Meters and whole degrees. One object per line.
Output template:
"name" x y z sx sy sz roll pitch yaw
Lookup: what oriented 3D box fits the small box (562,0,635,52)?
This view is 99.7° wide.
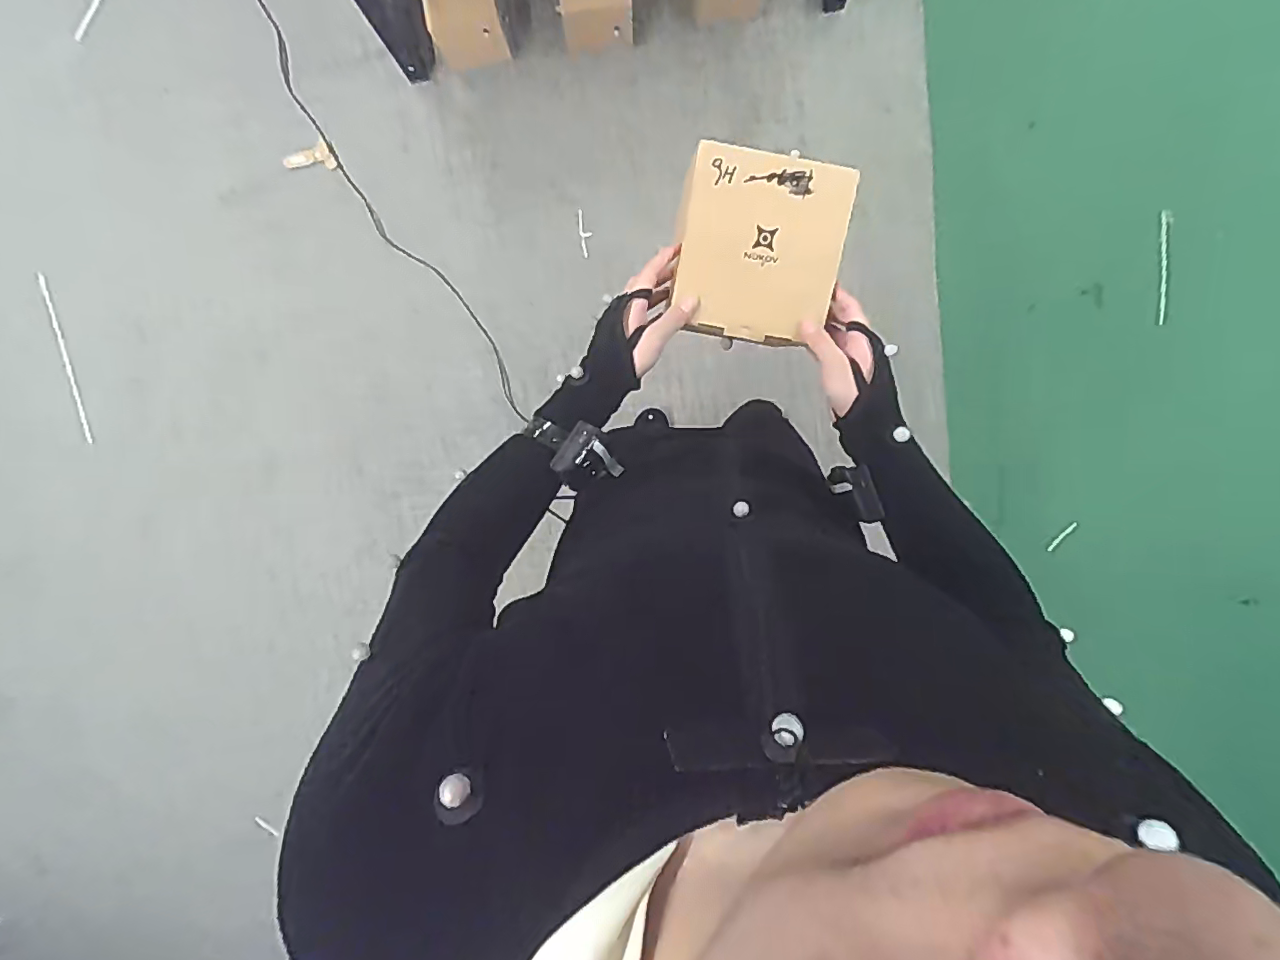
"small box" -0.109 -1.223 1.356 0.179 0.176 0.168 -8 97 2

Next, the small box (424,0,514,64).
"small box" -0.432 -1.190 1.360 0.179 0.176 0.168 -9 98 1
